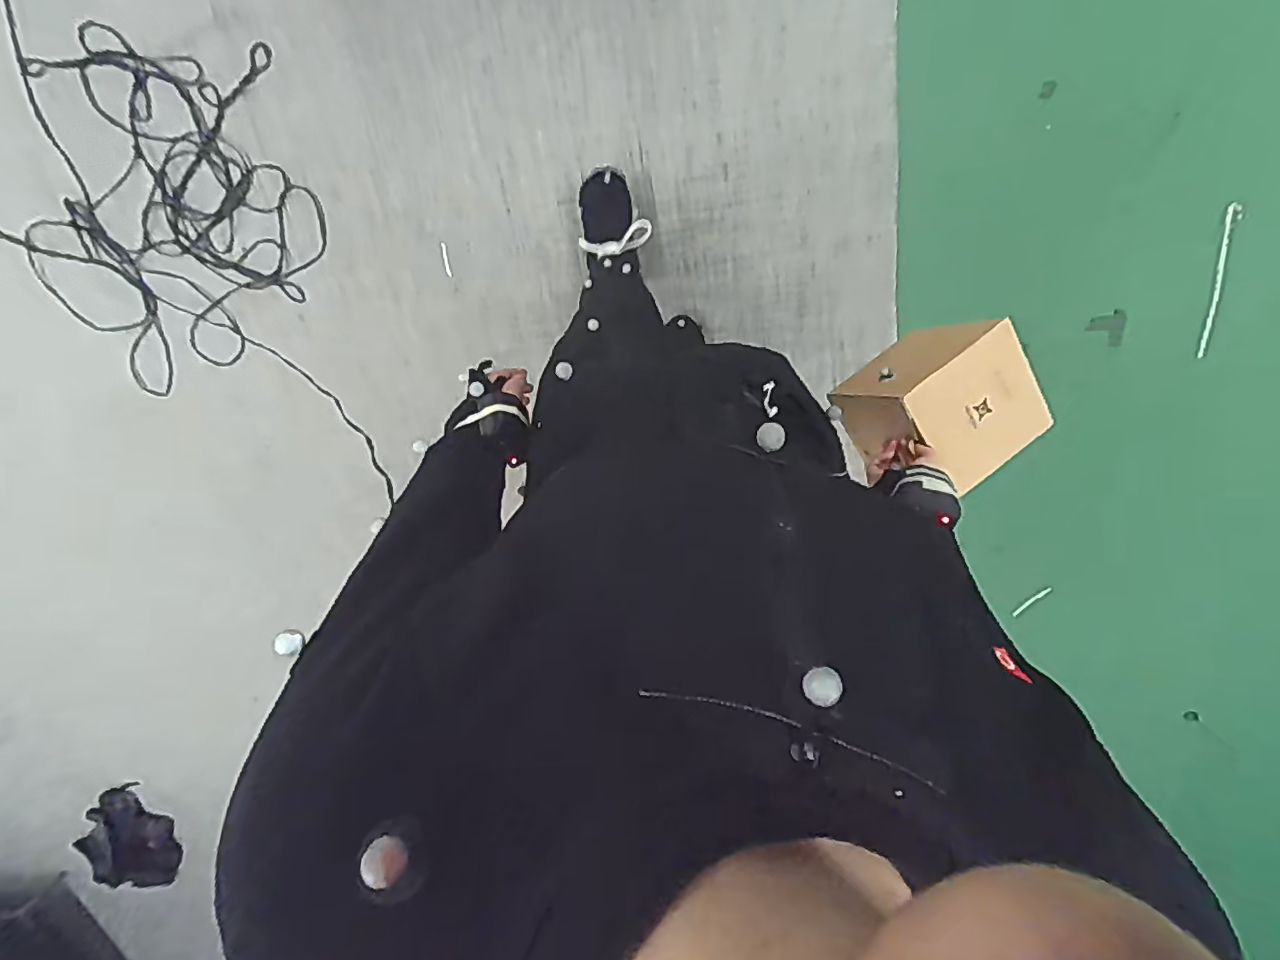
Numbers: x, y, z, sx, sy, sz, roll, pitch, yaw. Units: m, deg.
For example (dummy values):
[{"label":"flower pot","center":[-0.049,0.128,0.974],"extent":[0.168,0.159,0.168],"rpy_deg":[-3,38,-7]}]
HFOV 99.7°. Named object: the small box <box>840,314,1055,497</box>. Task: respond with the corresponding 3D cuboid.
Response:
[{"label":"small box","center":[0.409,-0.103,0.752],"extent":[0.179,0.176,0.168],"rpy_deg":[-38,106,-5]}]
